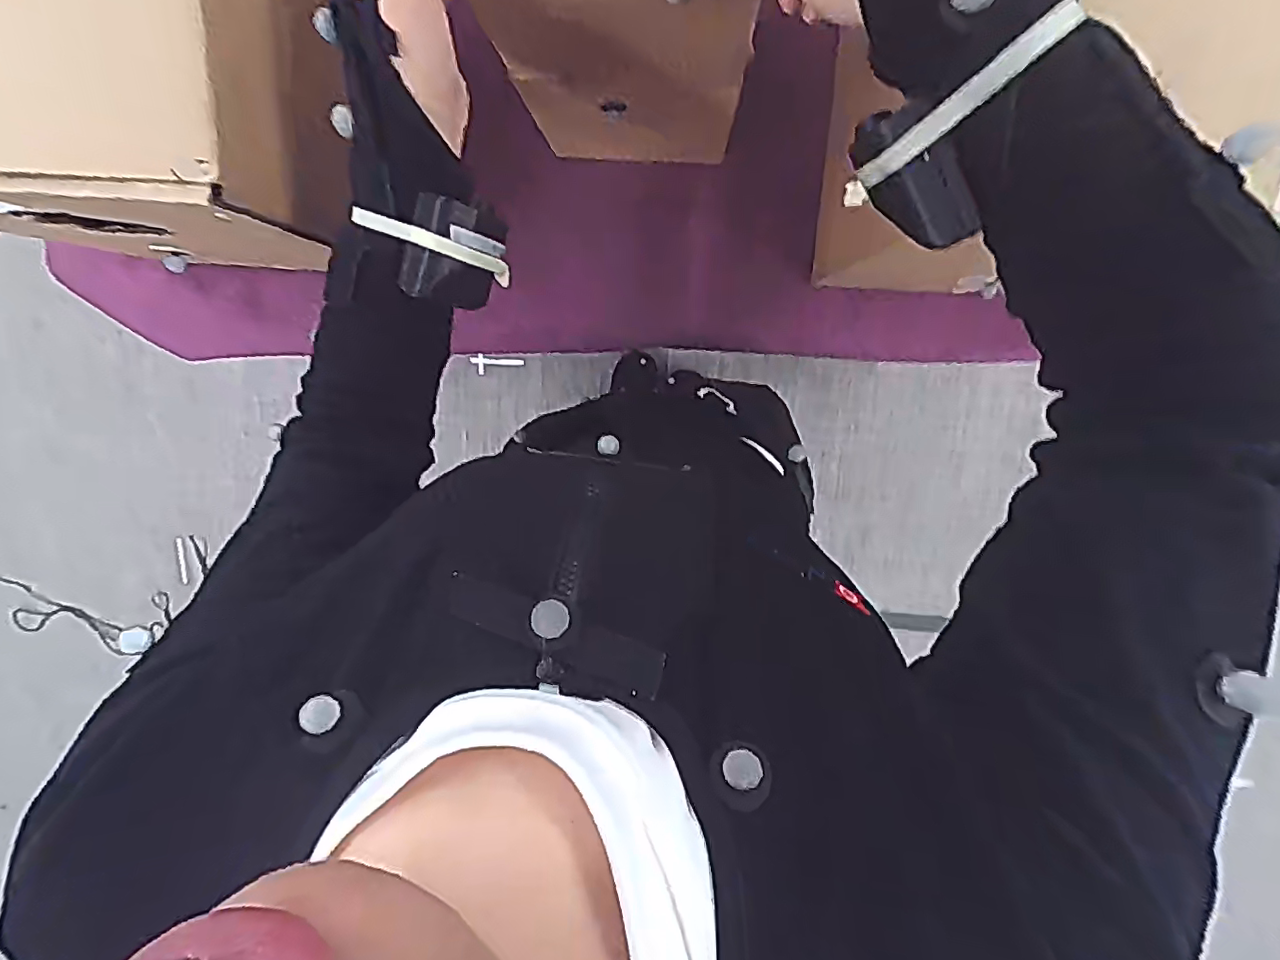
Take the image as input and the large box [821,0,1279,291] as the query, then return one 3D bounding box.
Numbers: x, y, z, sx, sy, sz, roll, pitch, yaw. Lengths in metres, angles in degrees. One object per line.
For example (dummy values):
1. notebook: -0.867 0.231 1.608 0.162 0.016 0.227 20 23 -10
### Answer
1. large box: 0.329 -0.360 0.373 0.320 0.320 0.408 2 101 2
